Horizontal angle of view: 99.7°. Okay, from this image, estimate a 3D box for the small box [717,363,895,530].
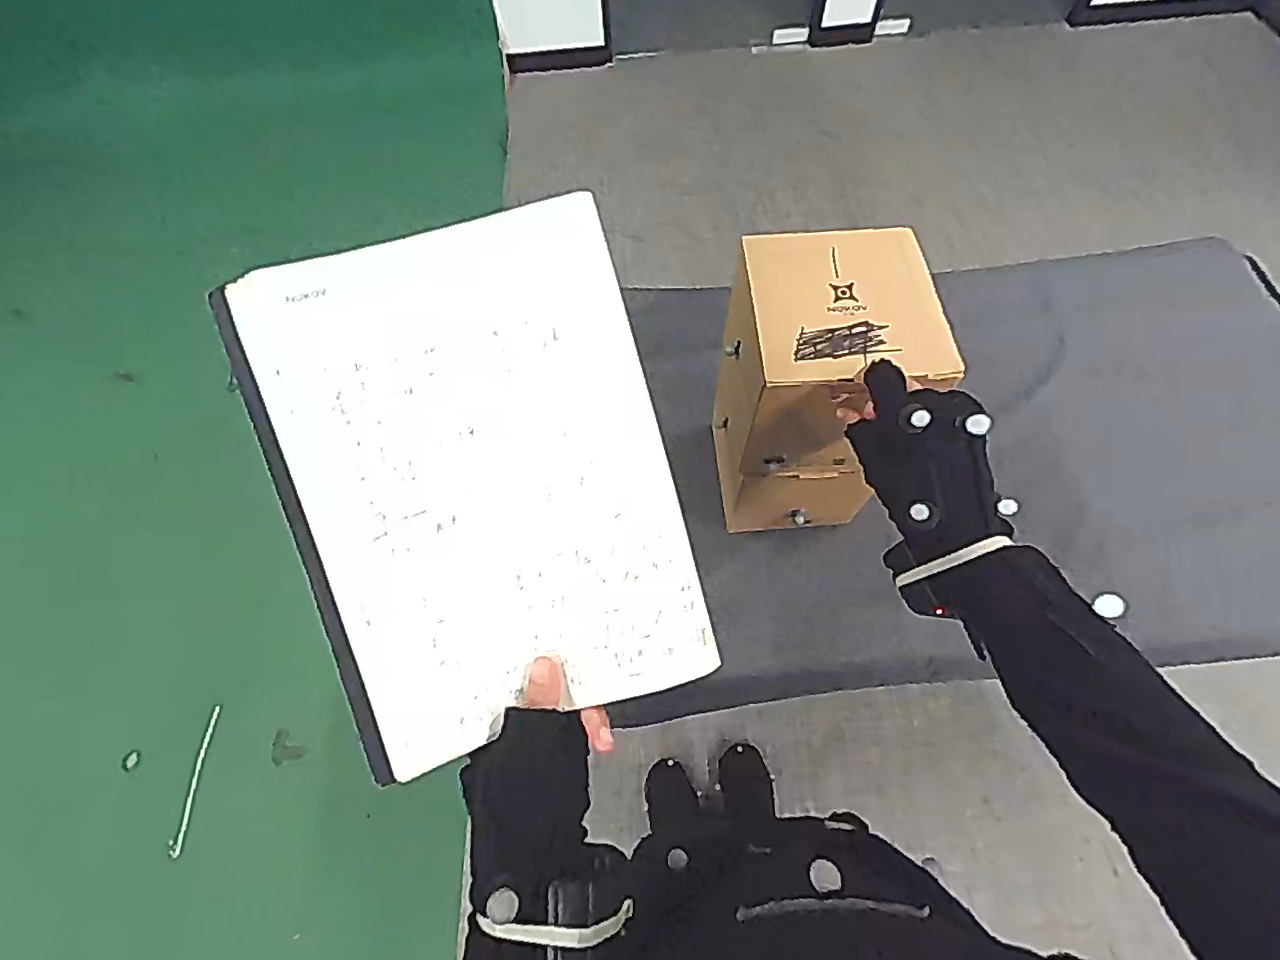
[{"bbox_3d":[0.196,-0.050,0.698,0.168,0.176,0.179,-4,64,1],"label":"small box"}]

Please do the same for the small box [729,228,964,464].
[{"bbox_3d":[0.187,-0.125,0.553,0.168,0.176,0.179,-2,63,1],"label":"small box"}]
